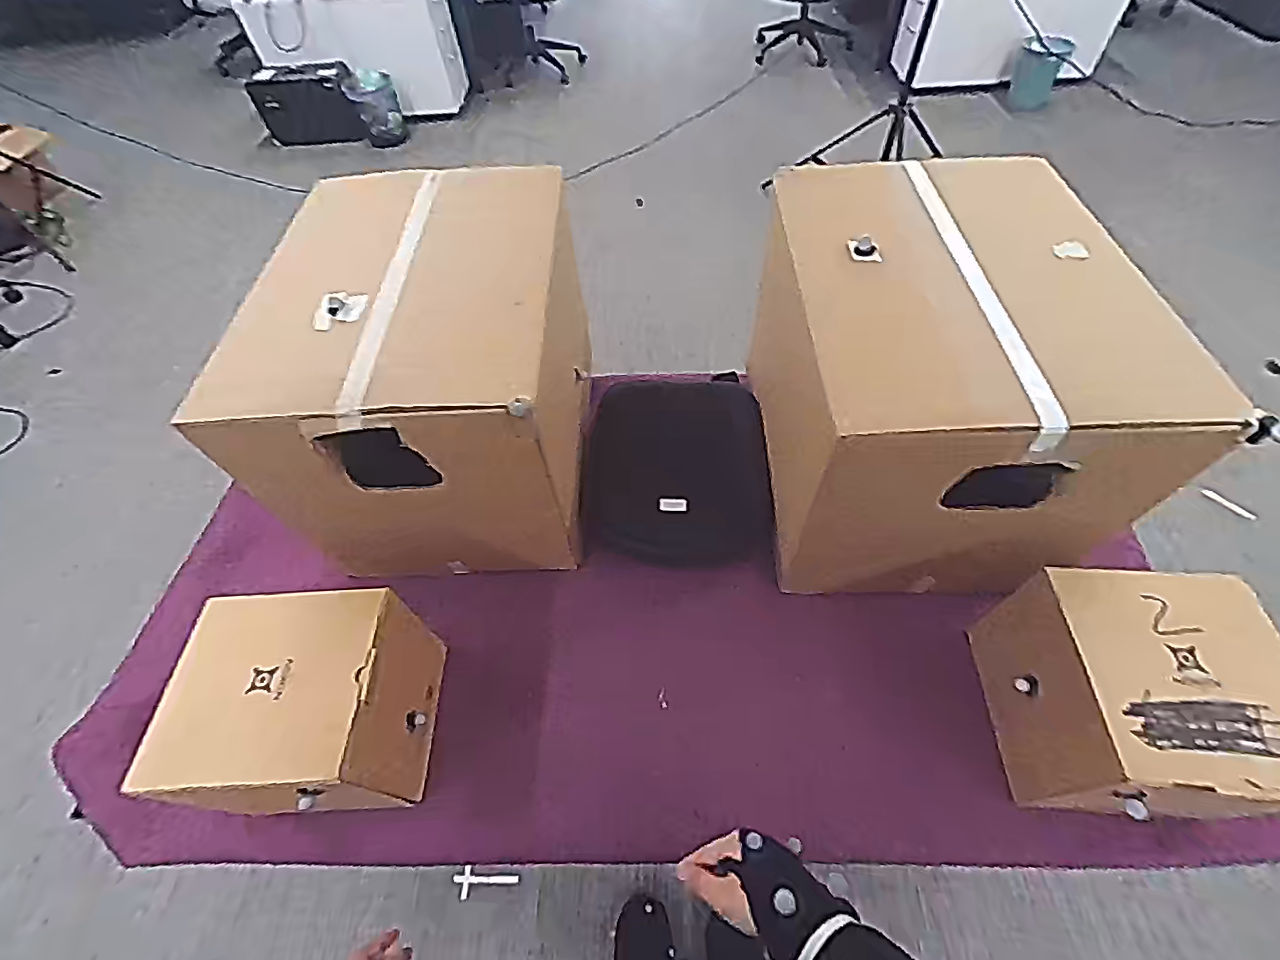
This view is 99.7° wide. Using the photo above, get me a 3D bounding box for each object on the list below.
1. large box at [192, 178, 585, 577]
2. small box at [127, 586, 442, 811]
[{"bbox_3d":[-0.240,-0.125,0.694,0.320,0.320,0.408,-4,57,2],"label":"large box"},{"bbox_3d":[-0.321,0.221,0.537,0.179,0.176,0.168,-4,54,0],"label":"small box"}]
